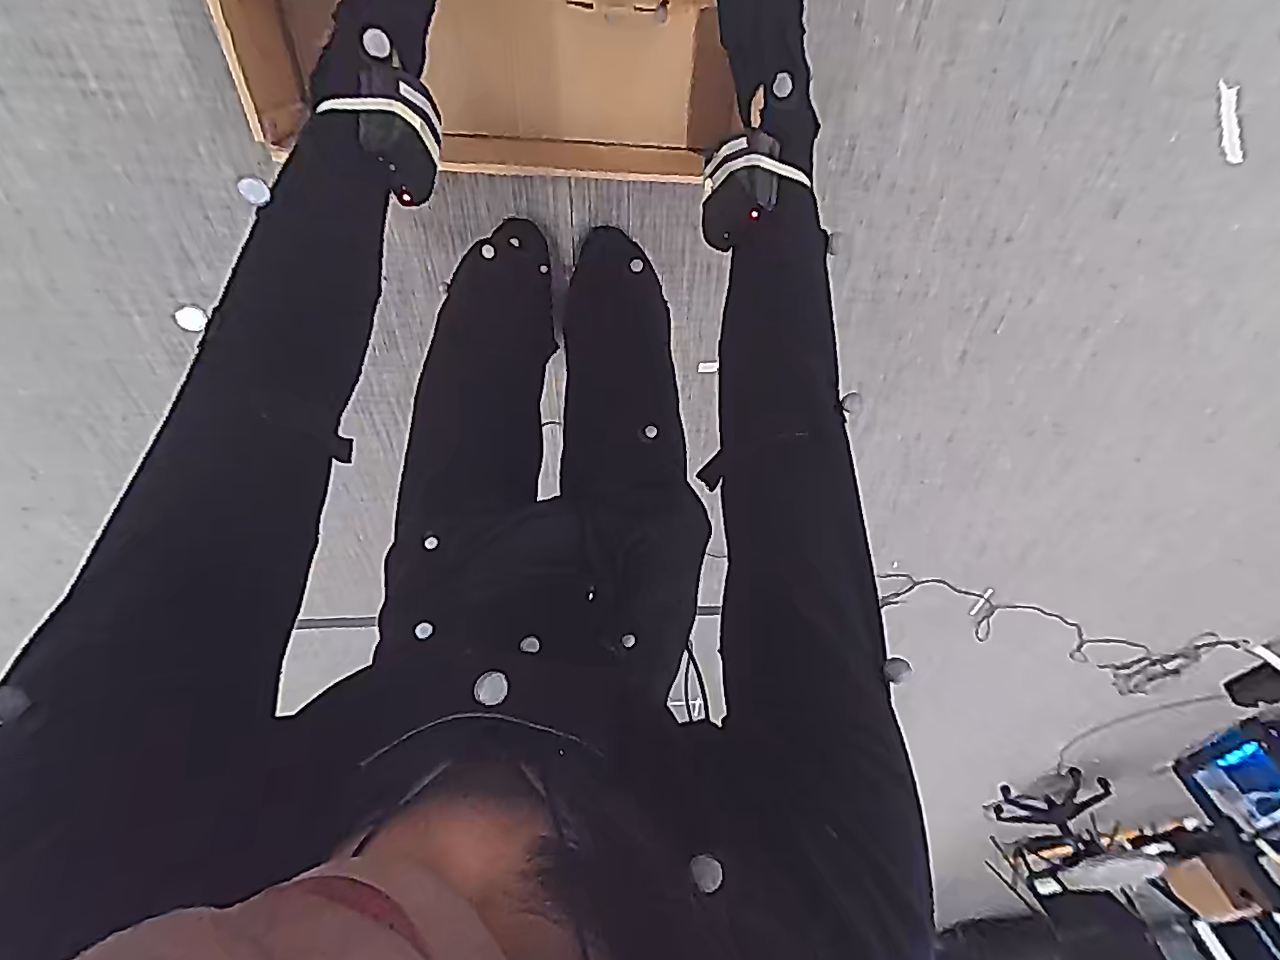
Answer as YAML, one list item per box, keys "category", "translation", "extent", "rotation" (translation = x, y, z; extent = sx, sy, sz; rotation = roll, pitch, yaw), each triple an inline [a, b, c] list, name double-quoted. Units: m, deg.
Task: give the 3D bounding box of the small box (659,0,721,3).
- category: "small box"
  translation: [-0.011, -0.515, 0.447]
  extent: [0.179, 0.176, 0.168]
  rotation: [3, 130, -5]

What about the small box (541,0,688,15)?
- category: "small box"
  translation: [-0.026, -0.619, 0.571]
  extent: [0.168, 0.176, 0.179]
  rotation: [0, 133, -6]
